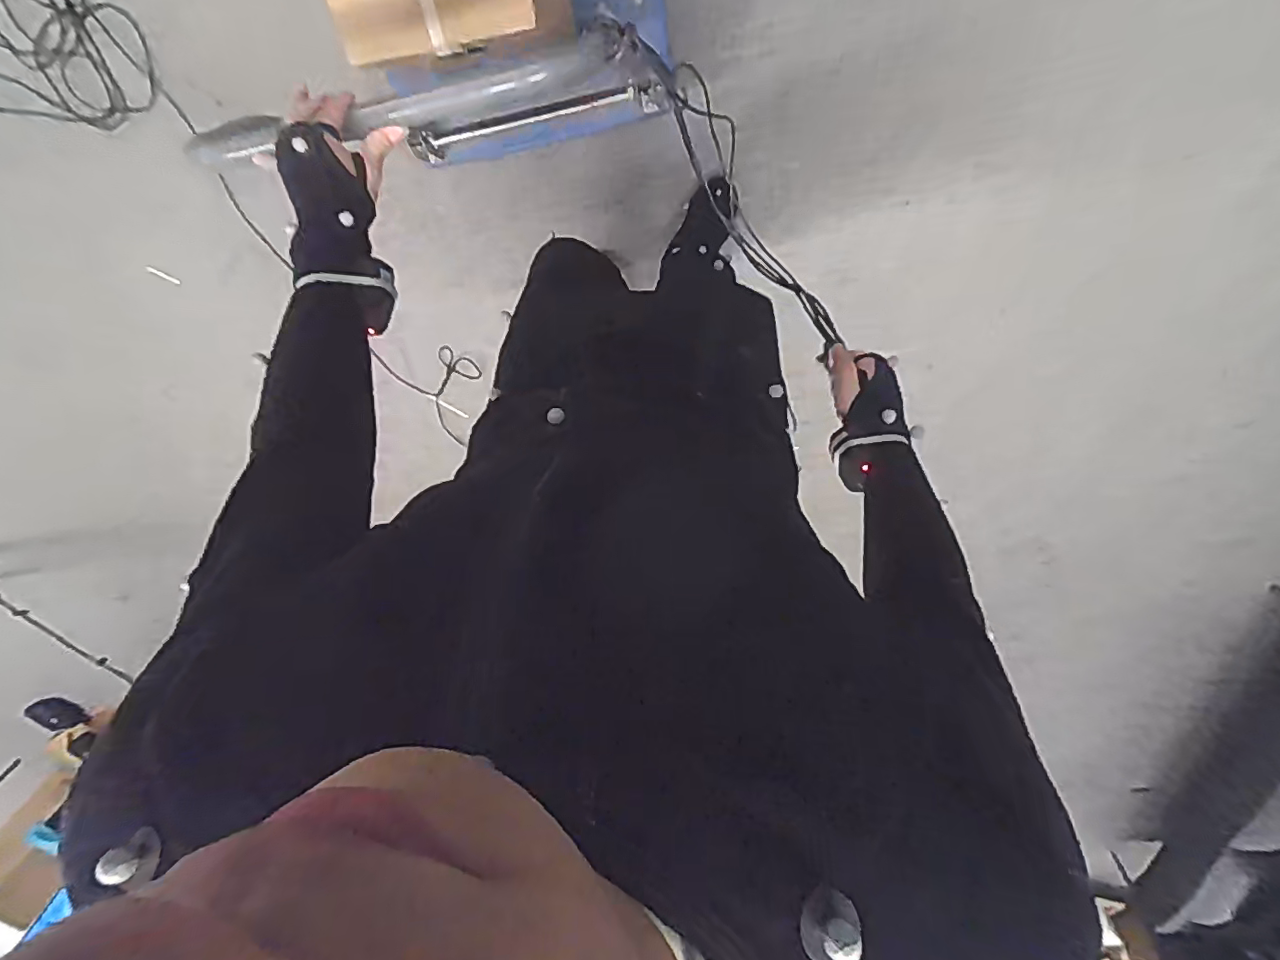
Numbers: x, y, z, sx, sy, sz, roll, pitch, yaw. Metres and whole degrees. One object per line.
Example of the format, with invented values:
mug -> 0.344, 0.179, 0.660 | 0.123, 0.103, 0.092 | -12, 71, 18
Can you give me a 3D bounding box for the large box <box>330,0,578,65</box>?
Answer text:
large box -> -0.309, -0.908, 0.814 | 0.320, 0.320, 0.408 | -3, 124, 9
